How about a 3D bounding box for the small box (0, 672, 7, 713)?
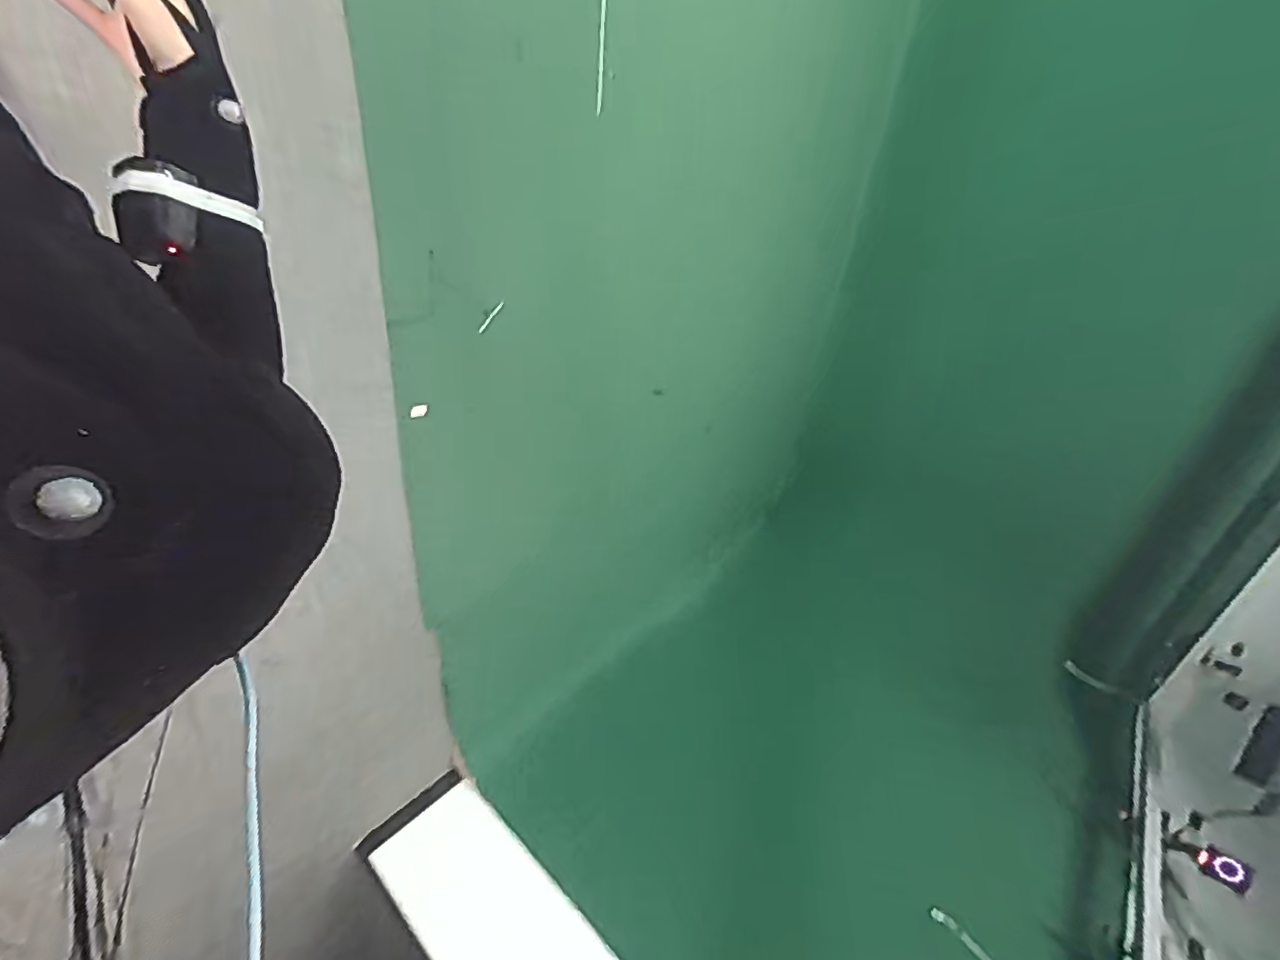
[{"bbox_3d":[-1.310,0.355,0.981,0.168,0.176,0.179,-24,130,-45],"label":"small box"}]
